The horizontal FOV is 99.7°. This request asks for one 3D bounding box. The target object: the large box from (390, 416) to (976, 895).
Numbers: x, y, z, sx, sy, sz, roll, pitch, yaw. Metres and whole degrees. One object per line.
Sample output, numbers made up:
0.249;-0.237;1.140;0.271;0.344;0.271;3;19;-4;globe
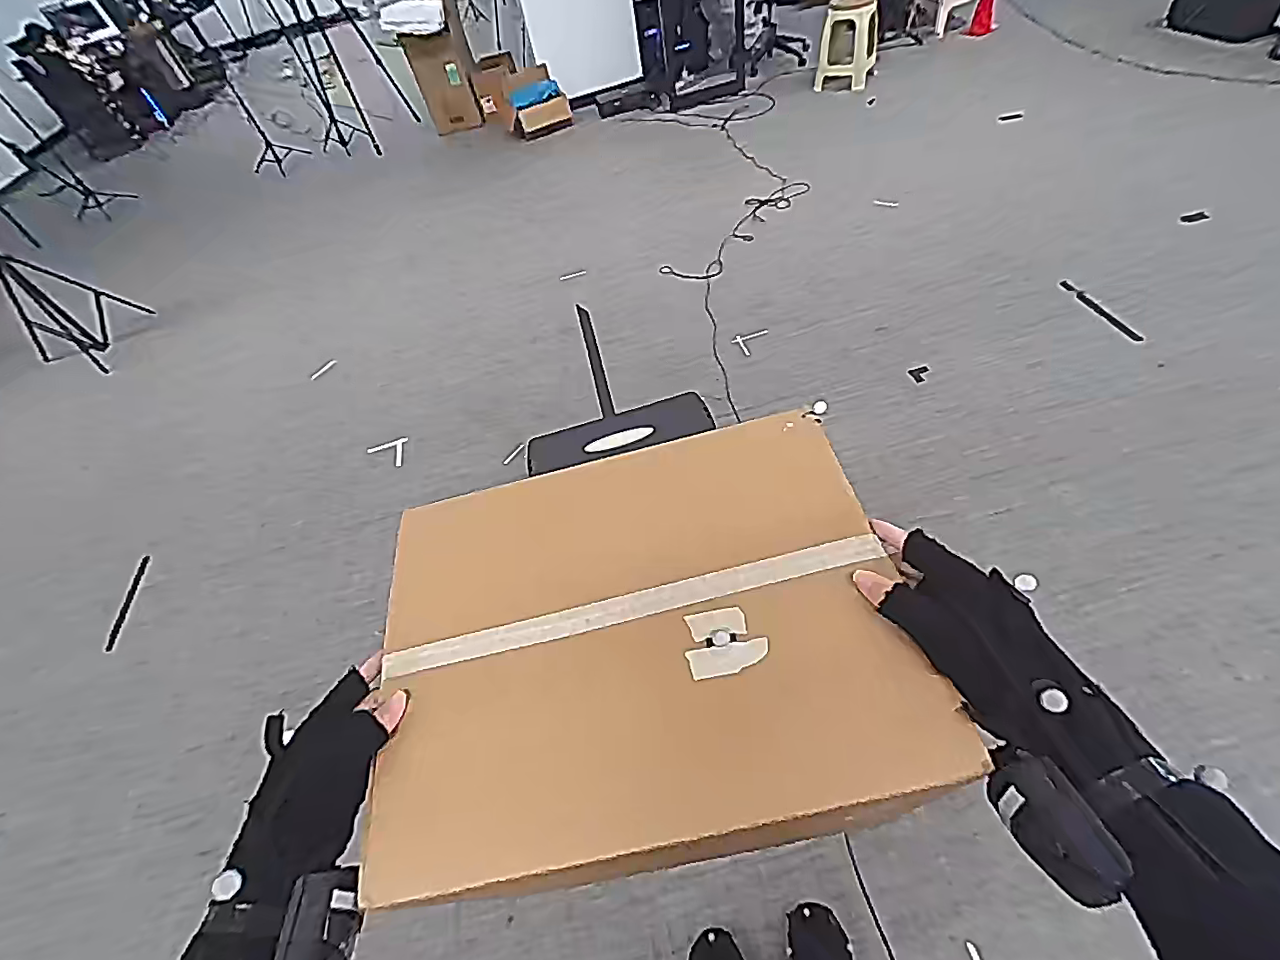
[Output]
0.025;0.192;0.557;0.408;0.320;0.320;-14;53;2;large box
